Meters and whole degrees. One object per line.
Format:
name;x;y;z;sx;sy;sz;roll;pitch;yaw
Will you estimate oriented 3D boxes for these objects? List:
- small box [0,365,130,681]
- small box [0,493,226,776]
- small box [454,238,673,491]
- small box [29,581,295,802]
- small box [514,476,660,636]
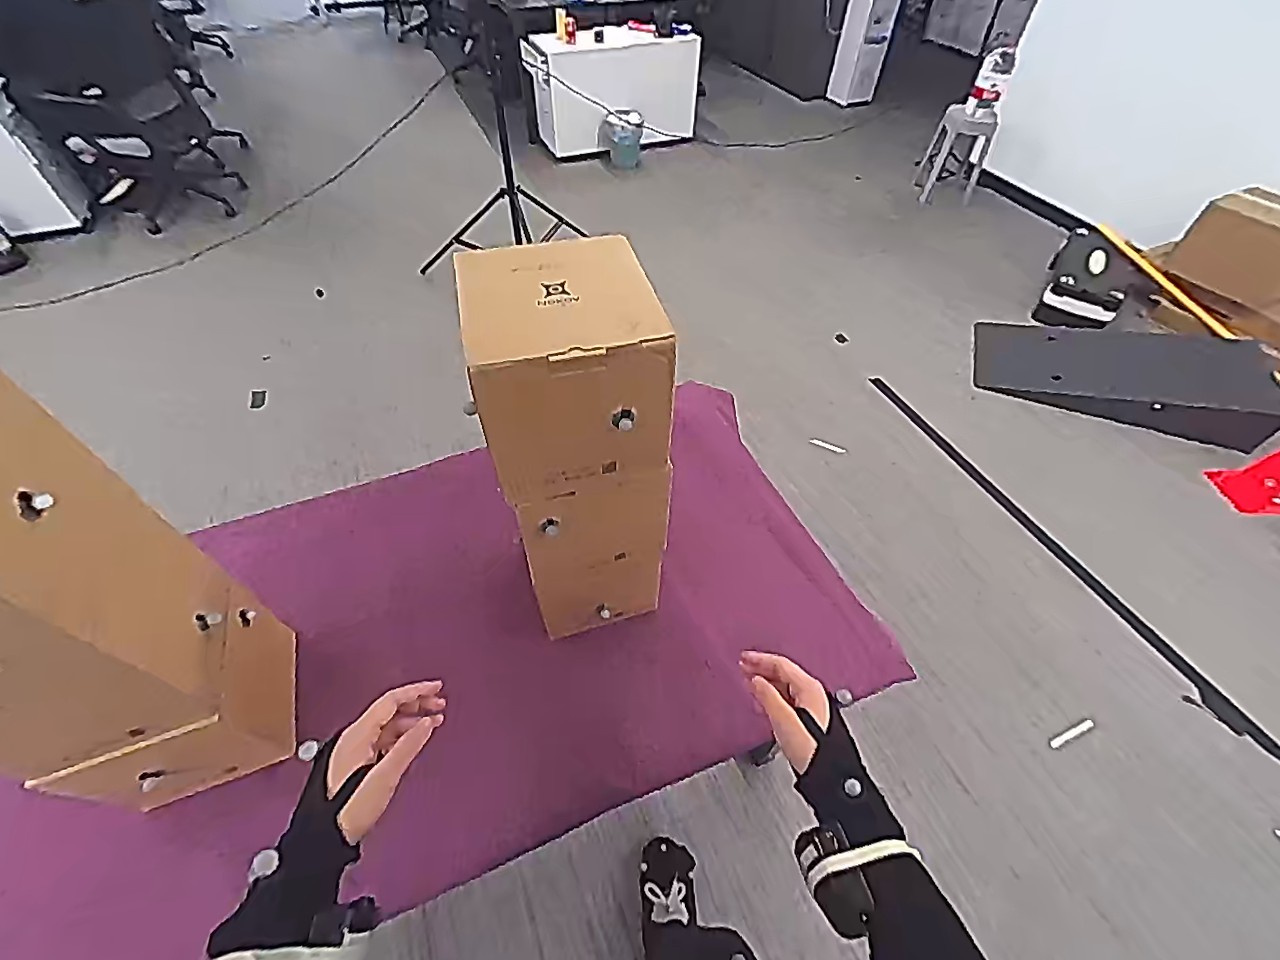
small box;-0.526;0.042;0.390;0.168;0.176;0.179;-17;53;-15
small box;-0.534;0.147;0.517;0.168;0.176;0.179;-18;52;-15
small box;-0.073;-0.106;0.524;0.168;0.176;0.179;-11;51;-12
small box;-0.535;0.255;0.640;0.168;0.176;0.179;-17;53;-15
small box;-0.078;0.096;0.781;0.168;0.176;0.179;-14;52;-11
